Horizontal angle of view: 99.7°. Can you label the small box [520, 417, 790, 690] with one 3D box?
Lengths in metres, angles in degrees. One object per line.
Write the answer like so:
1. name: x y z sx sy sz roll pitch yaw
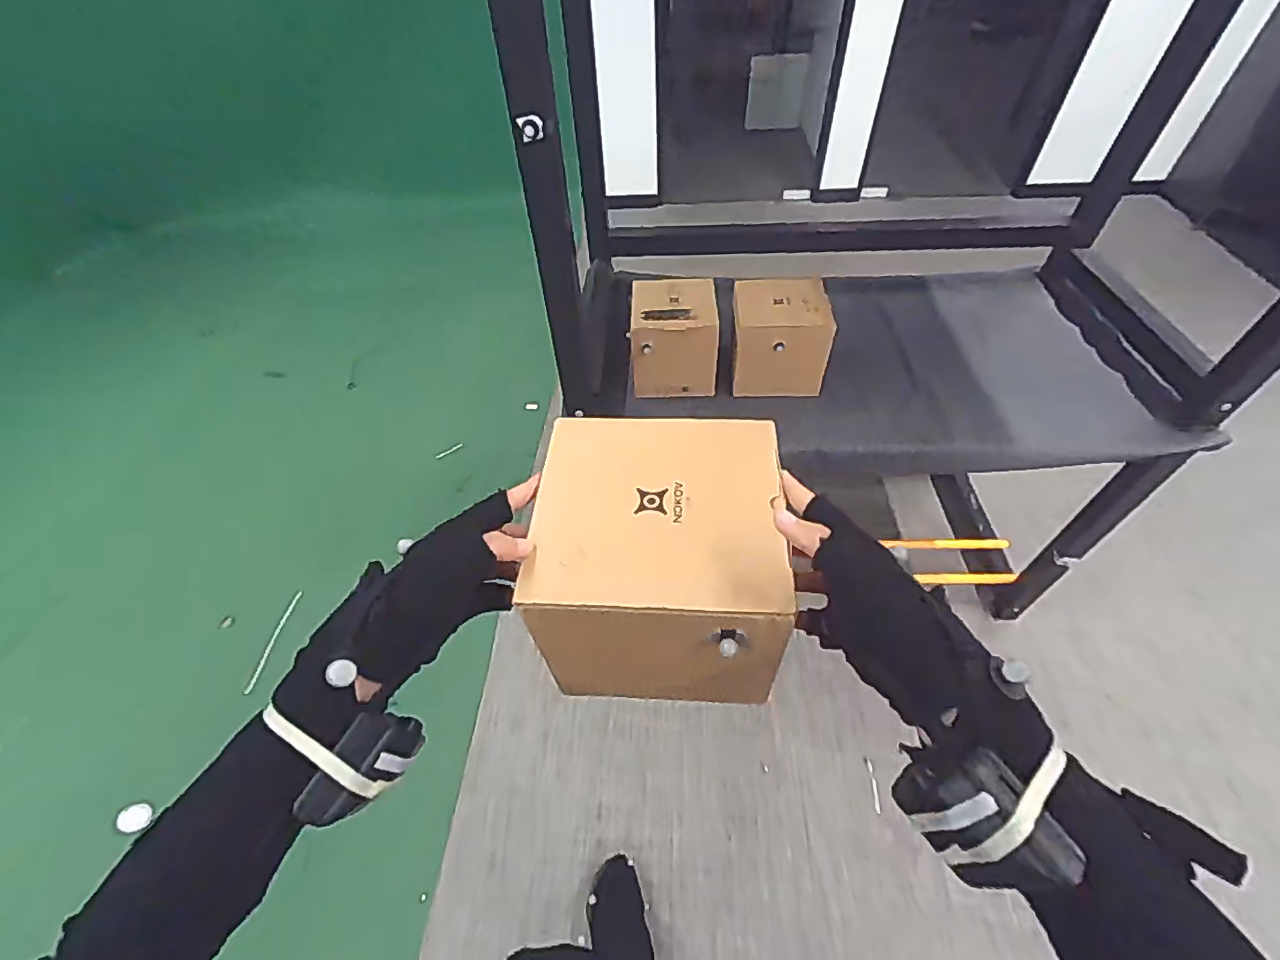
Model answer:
1. small box: 0.018 0.064 0.451 0.179 0.176 0.168 1 50 4
